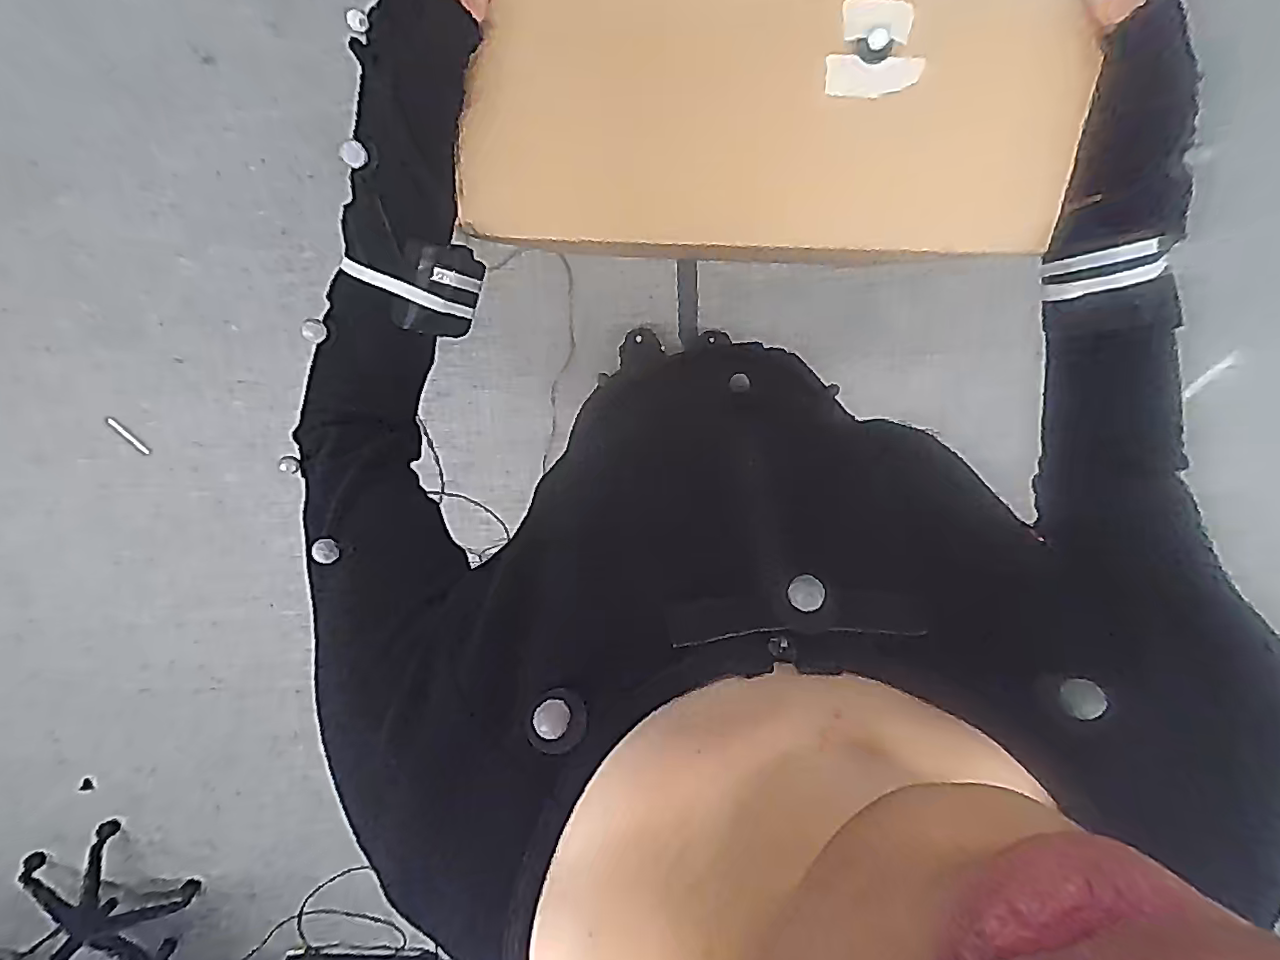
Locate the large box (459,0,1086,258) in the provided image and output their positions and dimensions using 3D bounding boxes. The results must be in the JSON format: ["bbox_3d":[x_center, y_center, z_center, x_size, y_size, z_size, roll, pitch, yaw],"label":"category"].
[{"bbox_3d":[0.086,-0.371,0.478,0.408,0.320,0.320,2,111,2],"label":"large box"}]
